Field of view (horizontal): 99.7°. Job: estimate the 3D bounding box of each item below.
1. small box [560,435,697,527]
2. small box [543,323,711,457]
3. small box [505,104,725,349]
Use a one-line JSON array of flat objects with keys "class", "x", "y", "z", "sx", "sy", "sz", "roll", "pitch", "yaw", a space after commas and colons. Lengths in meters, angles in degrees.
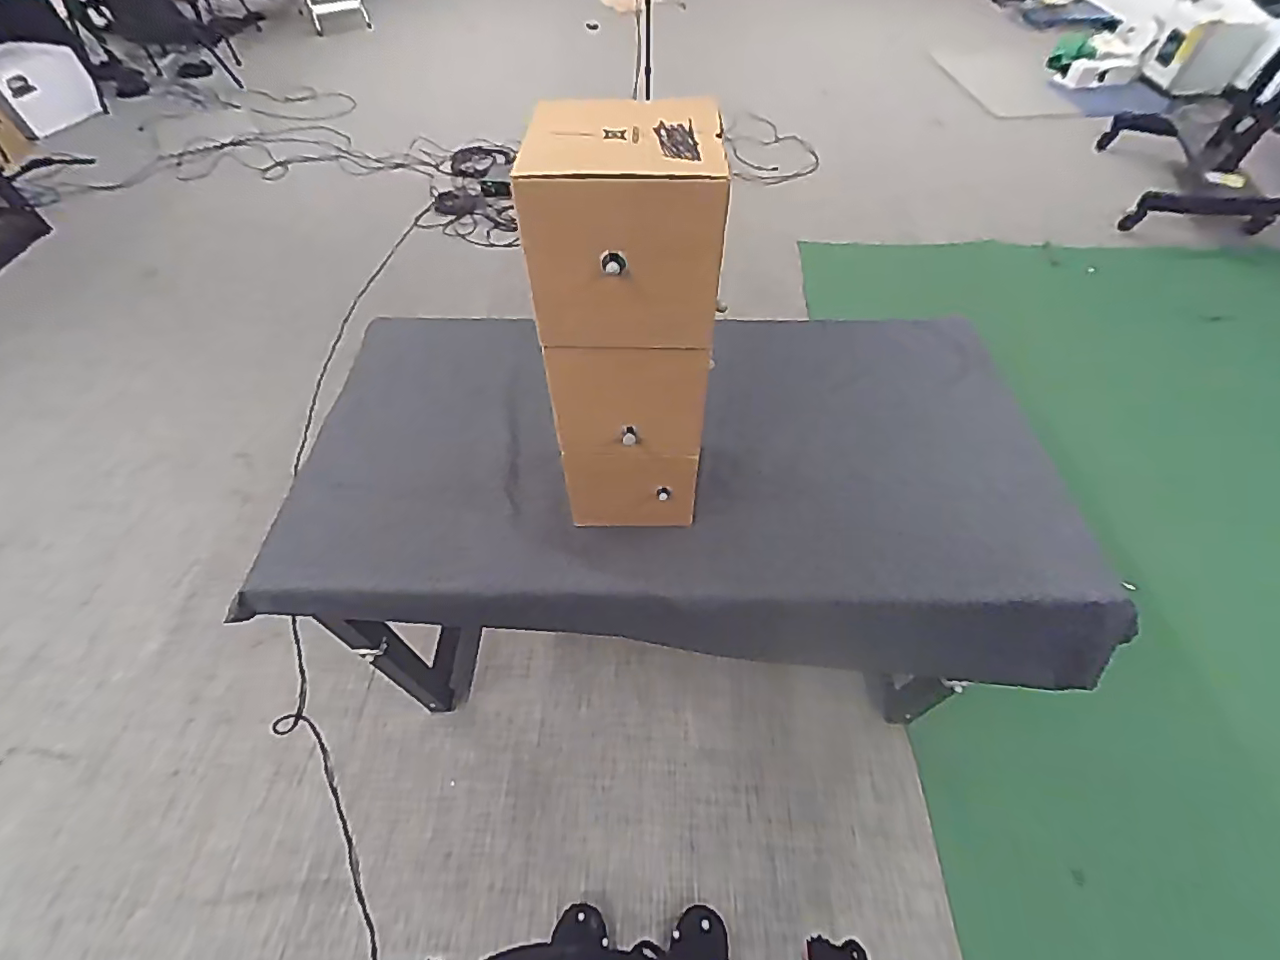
[{"class": "small box", "x": -0.012, "y": -0.042, "z": 0.795, "sx": 0.179, "sy": 0.176, "sz": 0.168, "roll": -1, "pitch": 52, "yaw": 2}, {"class": "small box", "x": -0.014, "y": -0.141, "z": 0.668, "sx": 0.179, "sy": 0.176, "sz": 0.168, "roll": -2, "pitch": 53, "yaw": 0}, {"class": "small box", "x": -0.016, "y": -0.245, "z": 0.536, "sx": 0.179, "sy": 0.176, "sz": 0.168, "roll": 1, "pitch": 52, "yaw": 2}]
